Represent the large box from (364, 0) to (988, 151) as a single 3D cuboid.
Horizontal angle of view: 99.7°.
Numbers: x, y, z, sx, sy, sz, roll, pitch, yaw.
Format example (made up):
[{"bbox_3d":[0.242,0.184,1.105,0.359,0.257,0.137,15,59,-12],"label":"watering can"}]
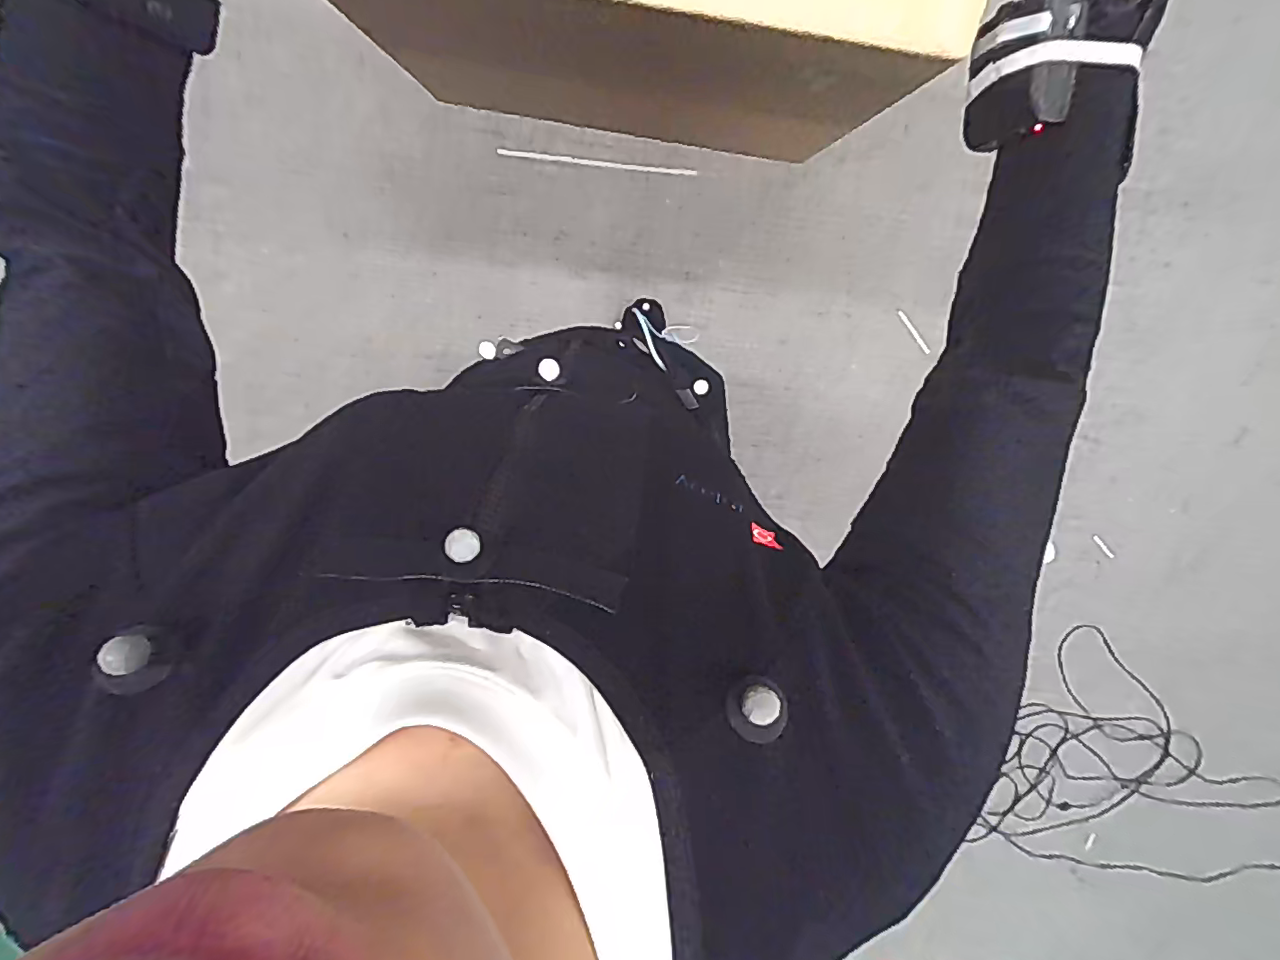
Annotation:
[{"bbox_3d":[0.014,-0.473,0.392,0.408,0.320,0.320,7,111,-6],"label":"large box"}]
